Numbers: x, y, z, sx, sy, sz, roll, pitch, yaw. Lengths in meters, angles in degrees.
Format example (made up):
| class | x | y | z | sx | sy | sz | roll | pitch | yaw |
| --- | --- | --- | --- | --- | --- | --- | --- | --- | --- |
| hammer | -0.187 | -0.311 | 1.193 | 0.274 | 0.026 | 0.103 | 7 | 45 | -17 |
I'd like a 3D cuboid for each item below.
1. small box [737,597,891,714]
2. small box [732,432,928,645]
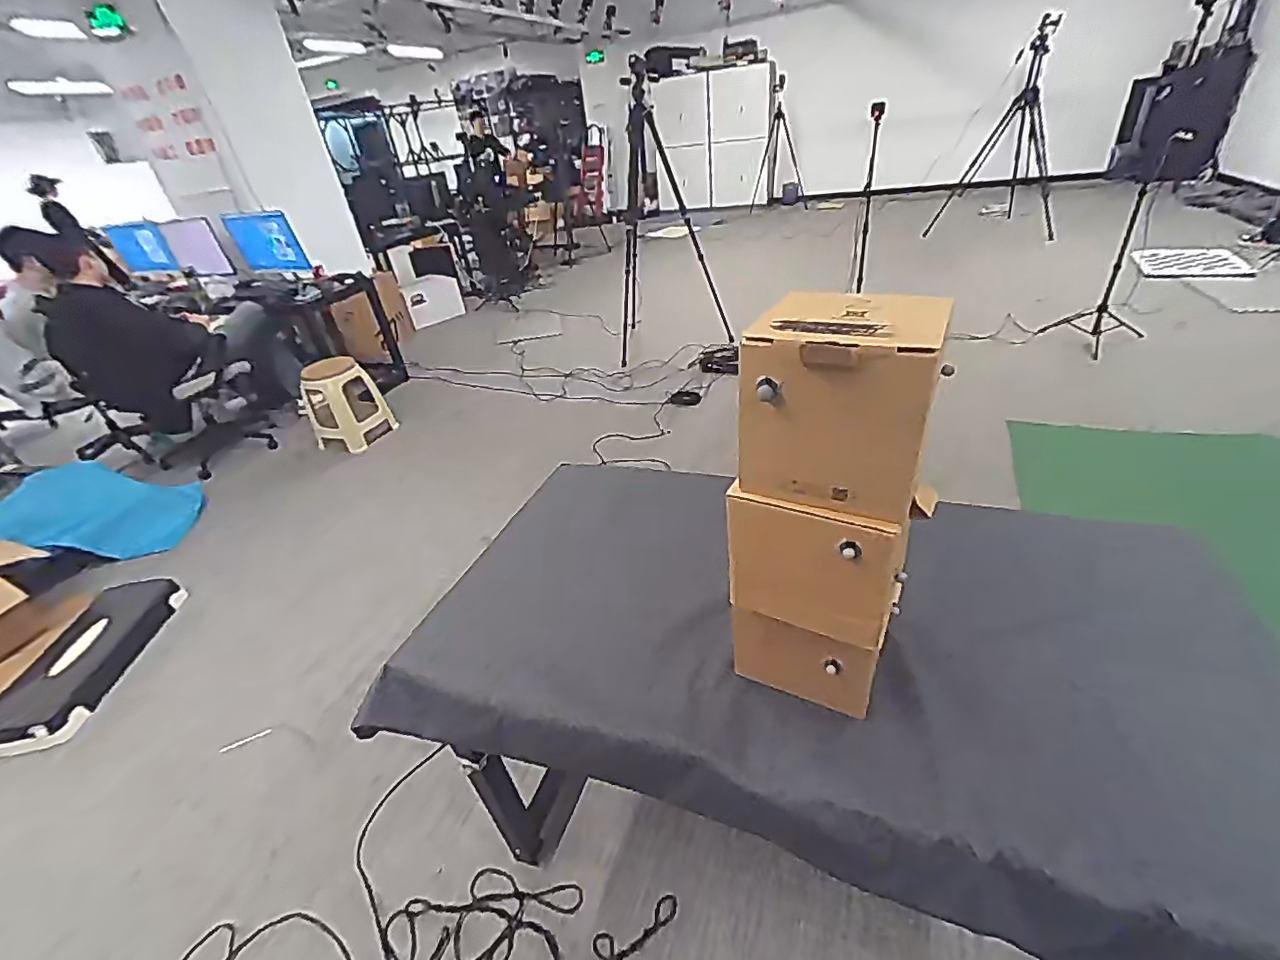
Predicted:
| class | x | y | z | sx | sy | sz | roll | pitch | yaw |
| --- | --- | --- | --- | --- | --- | --- | --- | --- | --- |
| small box | 0.246 | 0.187 | 0.742 | 0.179 | 0.176 | 0.168 | 11 | 36 | 28 |
| small box | 0.220 | 0.063 | 0.638 | 0.179 | 0.176 | 0.168 | 13 | 38 | 28 |
